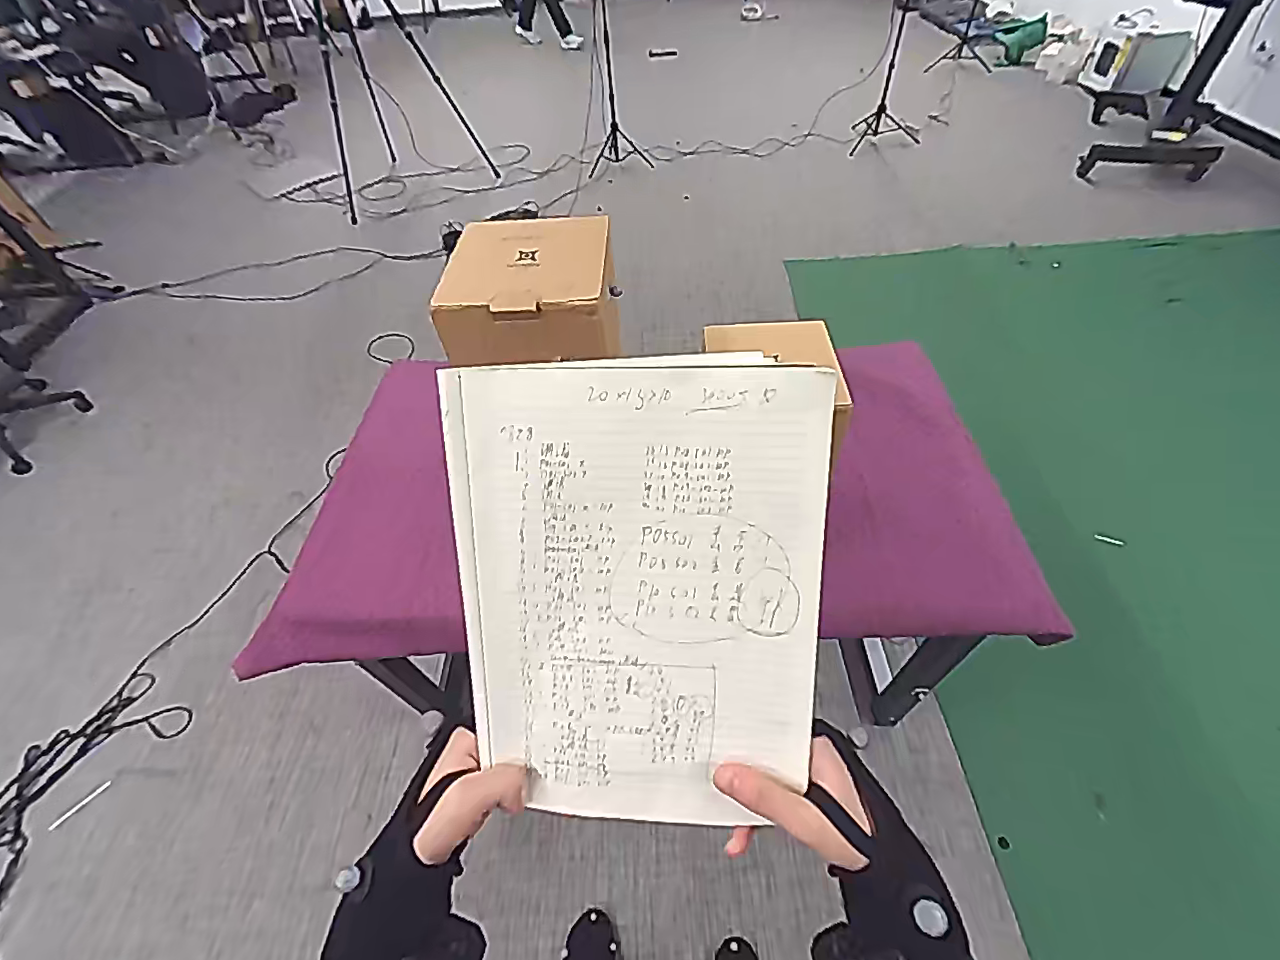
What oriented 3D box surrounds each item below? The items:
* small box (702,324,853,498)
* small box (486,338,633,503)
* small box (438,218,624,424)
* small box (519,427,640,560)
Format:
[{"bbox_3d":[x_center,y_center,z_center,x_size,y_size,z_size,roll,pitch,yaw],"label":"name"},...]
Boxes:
[{"bbox_3d":[0.174,-0.095,0.749,0.168,0.176,0.179,-1,50,3],"label":"small box"},{"bbox_3d":[-0.098,-0.079,0.758,0.168,0.176,0.179,-2,50,3],"label":"small box"},{"bbox_3d":[-0.108,-0.179,0.630,0.168,0.176,0.179,-1,50,3],"label":"small box"},{"bbox_3d":[-0.088,0.021,0.889,0.168,0.176,0.179,-1,51,3],"label":"small box"}]
